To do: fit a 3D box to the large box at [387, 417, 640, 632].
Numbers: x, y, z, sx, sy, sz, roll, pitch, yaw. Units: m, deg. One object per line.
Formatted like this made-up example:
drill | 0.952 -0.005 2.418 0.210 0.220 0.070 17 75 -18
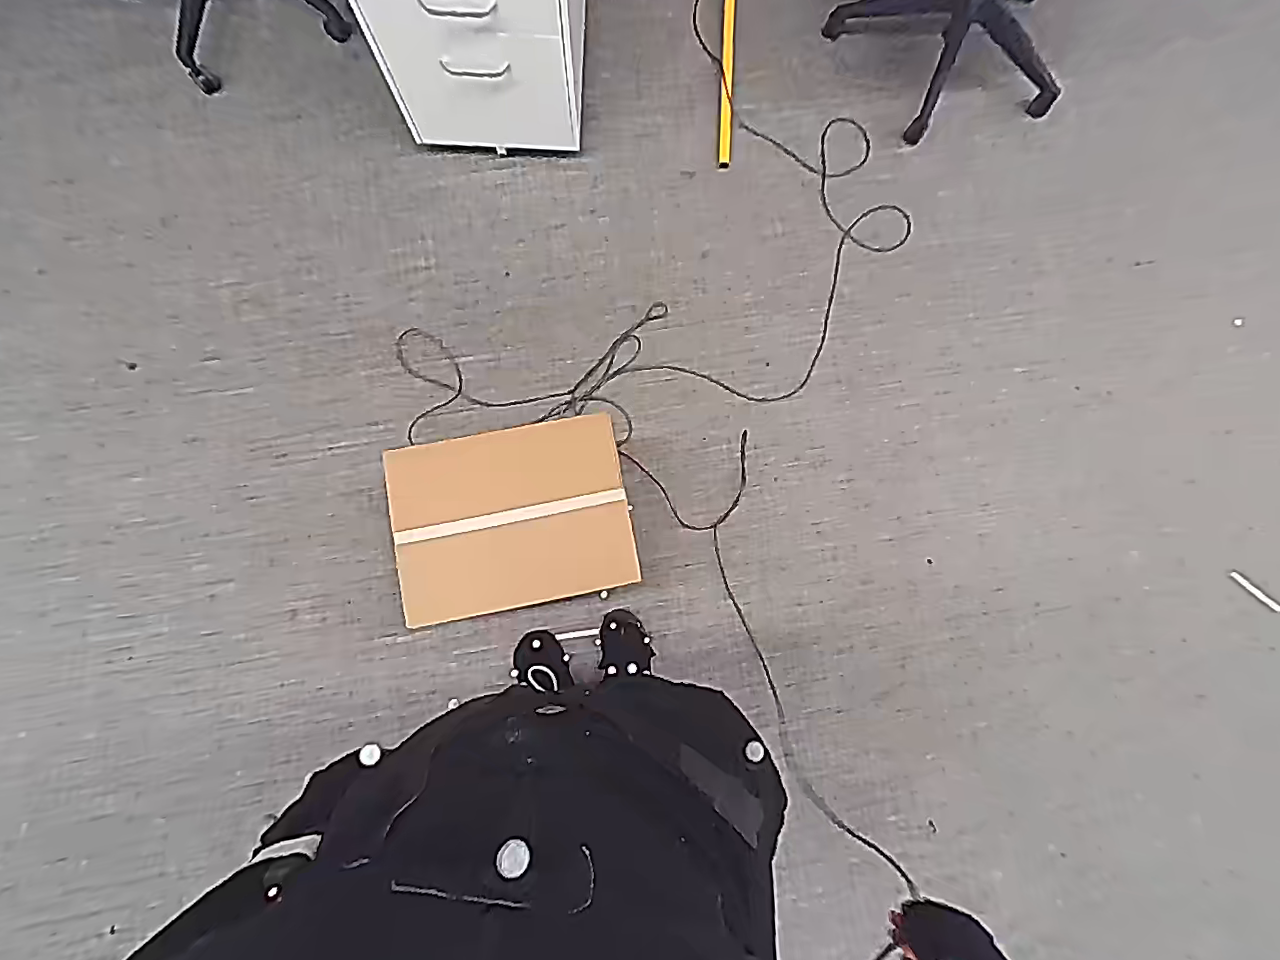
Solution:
large box | -0.230 0.091 1.096 0.408 0.320 0.320 -11 82 -4
